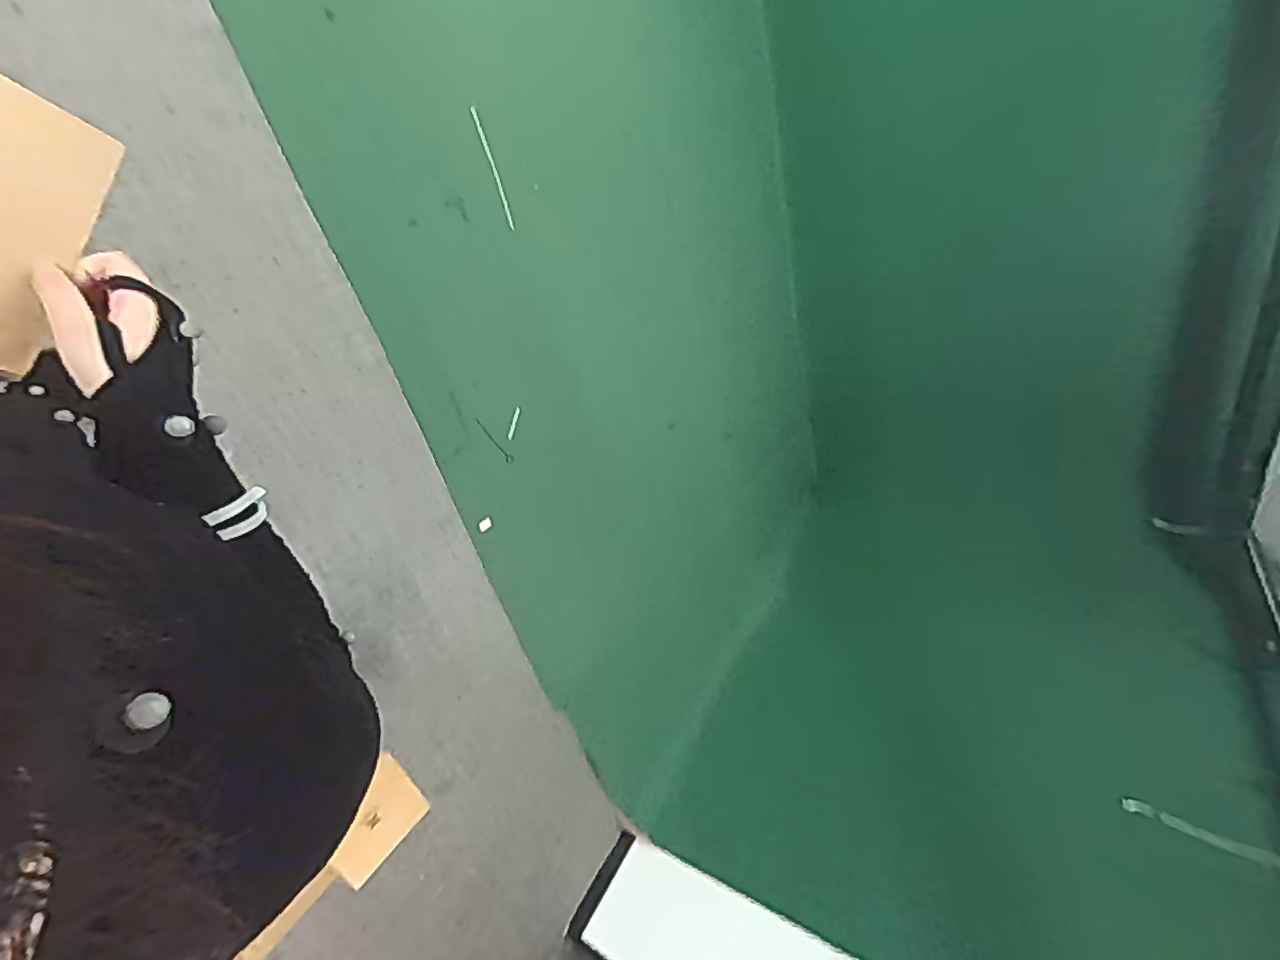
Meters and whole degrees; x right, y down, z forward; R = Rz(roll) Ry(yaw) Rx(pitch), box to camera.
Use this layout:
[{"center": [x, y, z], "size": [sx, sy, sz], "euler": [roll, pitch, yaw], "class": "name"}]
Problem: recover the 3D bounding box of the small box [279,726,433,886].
[{"center": [-0.538, 0.606, 1.029], "size": [0.168, 0.176, 0.179], "euler": [-43, 124, -40], "class": "small box"}]
